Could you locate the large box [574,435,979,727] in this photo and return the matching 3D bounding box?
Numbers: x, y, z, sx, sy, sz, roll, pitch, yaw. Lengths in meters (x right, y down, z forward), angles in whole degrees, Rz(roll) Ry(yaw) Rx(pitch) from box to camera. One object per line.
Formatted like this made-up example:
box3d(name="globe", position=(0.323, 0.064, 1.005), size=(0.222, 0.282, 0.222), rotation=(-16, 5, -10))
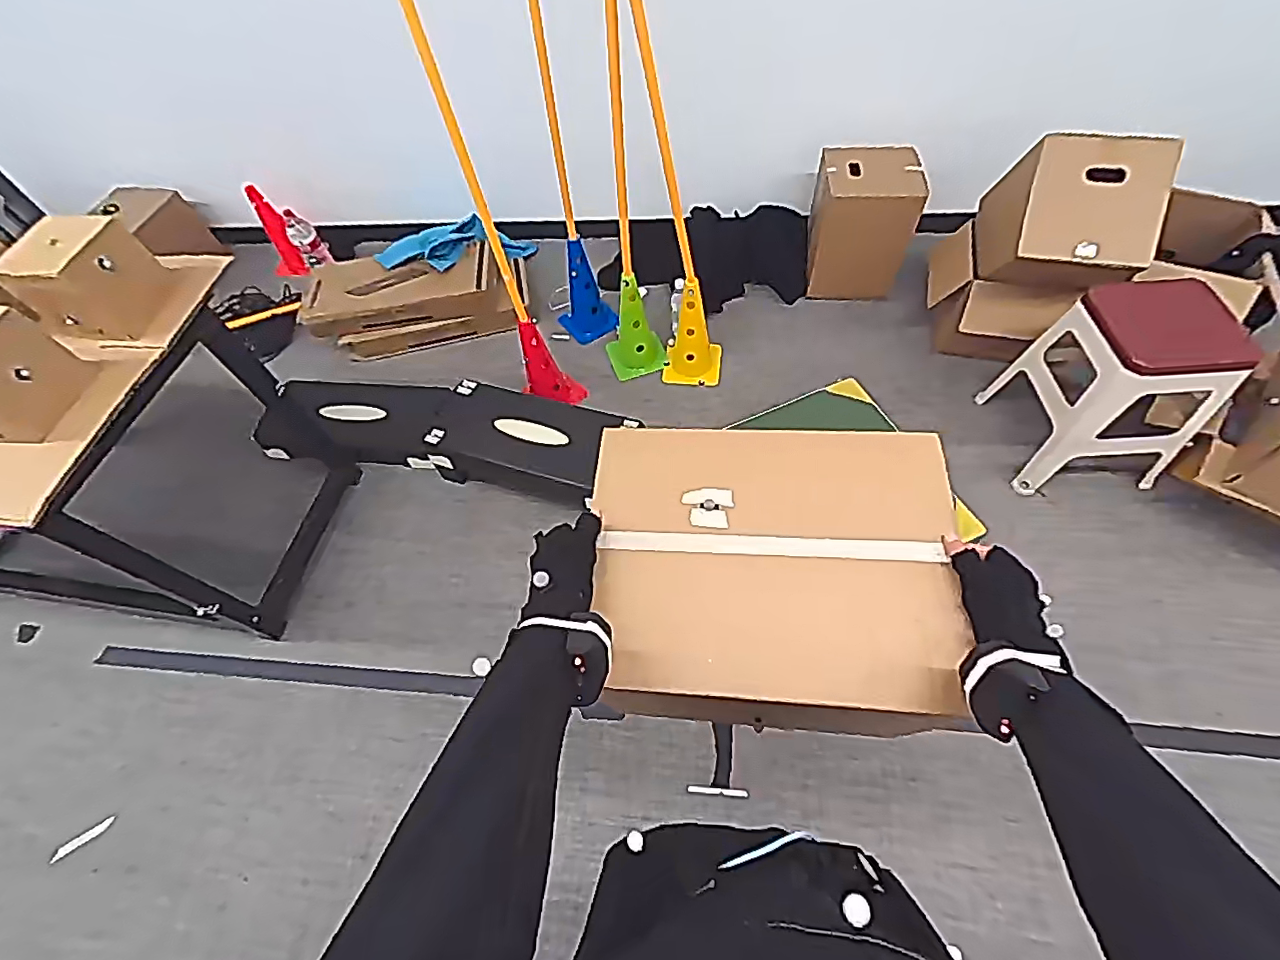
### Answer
box3d(name="large box", position=(0.159, 0.148, 0.736), size=(0.408, 0.320, 0.320), rotation=(1, 61, 9))
